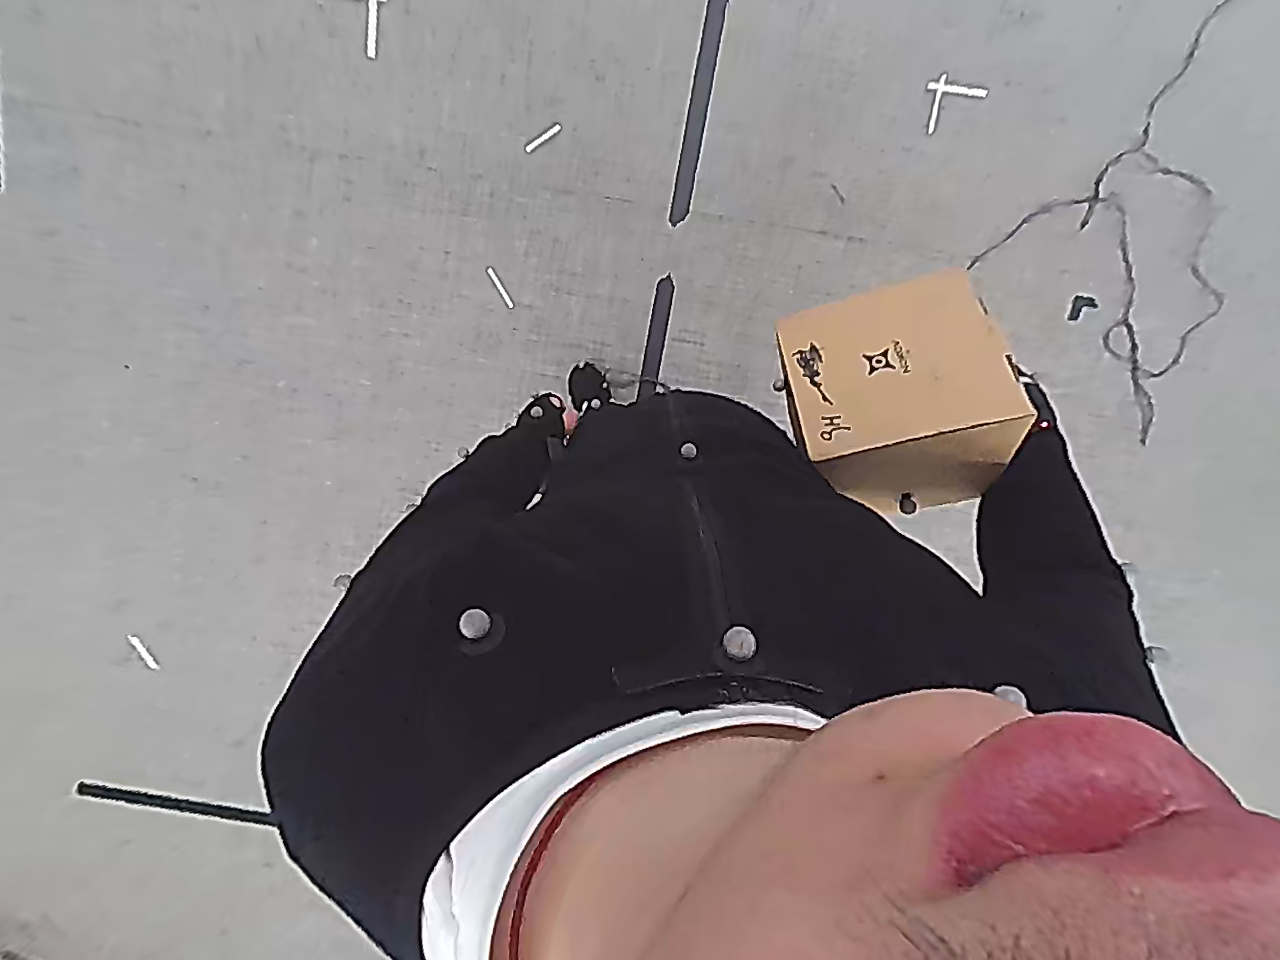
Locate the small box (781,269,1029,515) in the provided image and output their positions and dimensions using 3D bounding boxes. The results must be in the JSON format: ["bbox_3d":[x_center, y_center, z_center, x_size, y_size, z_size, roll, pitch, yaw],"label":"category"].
[{"bbox_3d":[0.253,-0.078,0.562,0.179,0.176,0.168,-12,61,14],"label":"small box"}]
